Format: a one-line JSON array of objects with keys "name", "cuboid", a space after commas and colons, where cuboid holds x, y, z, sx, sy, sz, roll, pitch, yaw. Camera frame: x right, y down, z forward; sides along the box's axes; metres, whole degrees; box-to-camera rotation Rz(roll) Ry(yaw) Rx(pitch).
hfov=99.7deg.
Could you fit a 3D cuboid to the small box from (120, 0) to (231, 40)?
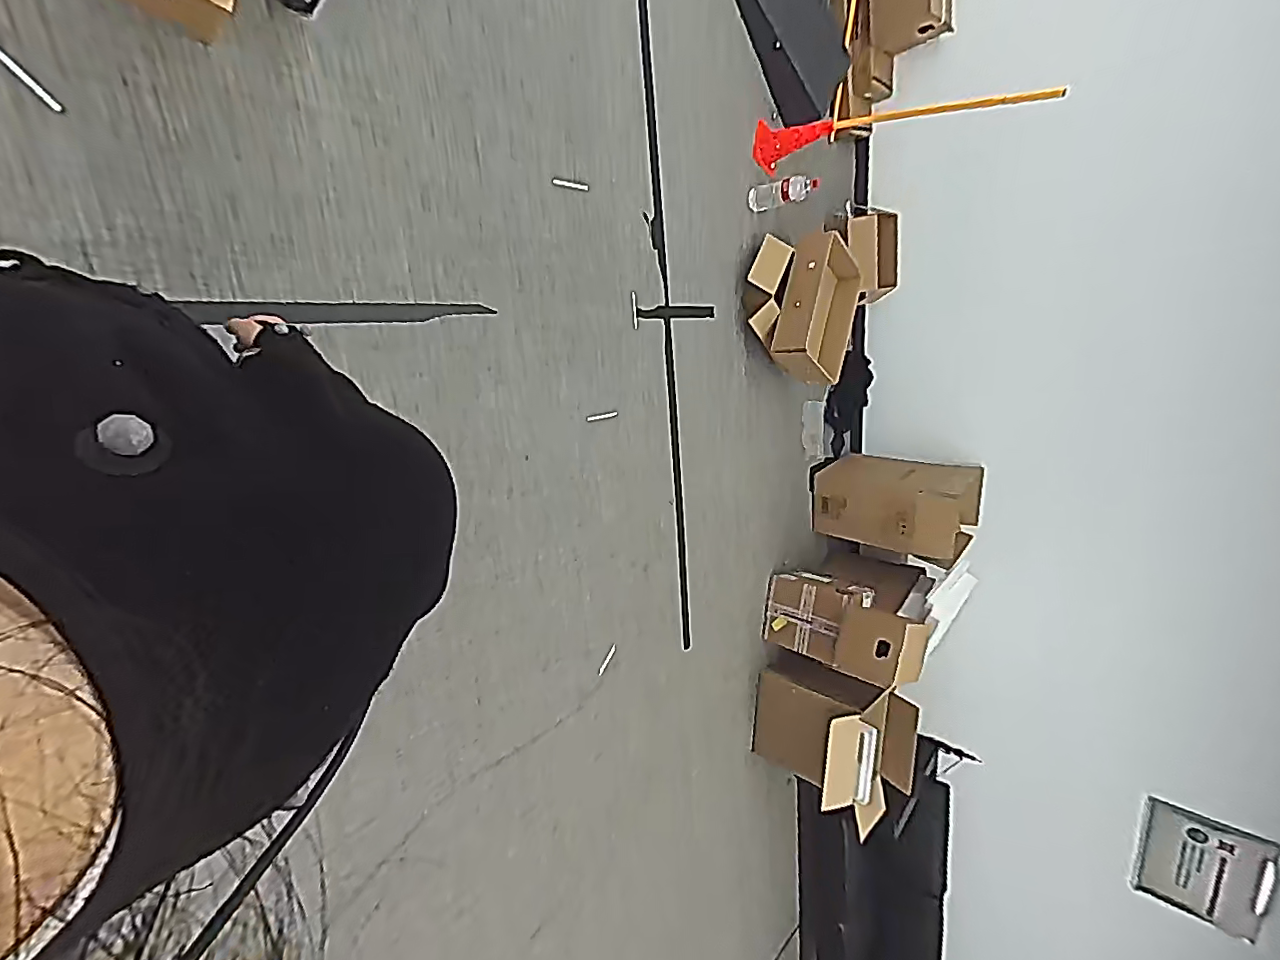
[{"name": "small box", "cuboid": [-0.890, -0.985, 1.021, 0.179, 0.176, 0.168, 5, 94, -46]}]
